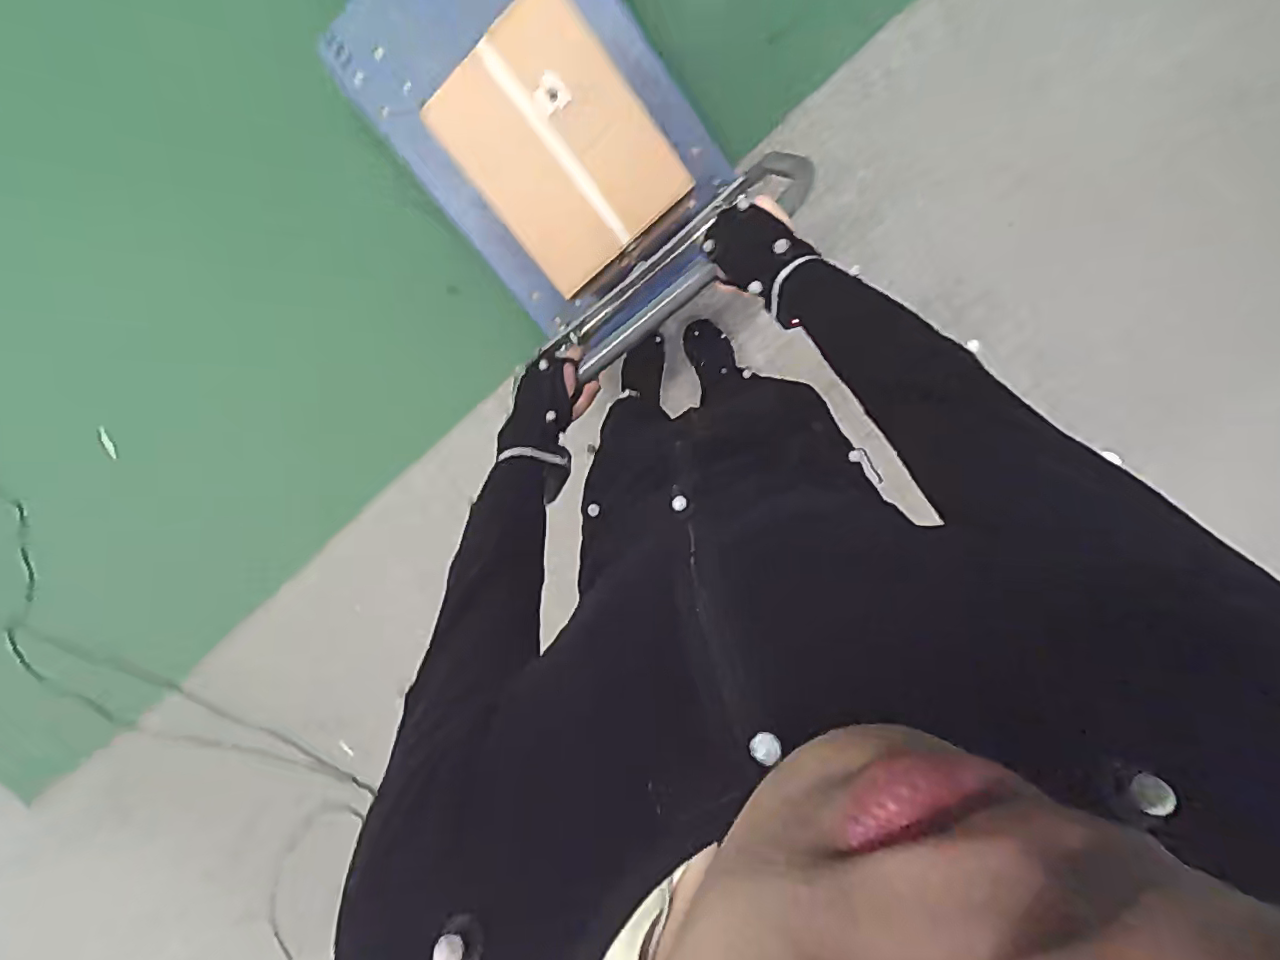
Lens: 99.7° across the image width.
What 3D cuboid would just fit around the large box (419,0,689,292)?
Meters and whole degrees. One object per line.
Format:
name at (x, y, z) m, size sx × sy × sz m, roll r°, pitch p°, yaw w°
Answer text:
large box at (-0.139, -0.643, 1.095) m, size 0.320 × 0.320 × 0.408 m, roll -37°, pitch 104°, yaw 15°
